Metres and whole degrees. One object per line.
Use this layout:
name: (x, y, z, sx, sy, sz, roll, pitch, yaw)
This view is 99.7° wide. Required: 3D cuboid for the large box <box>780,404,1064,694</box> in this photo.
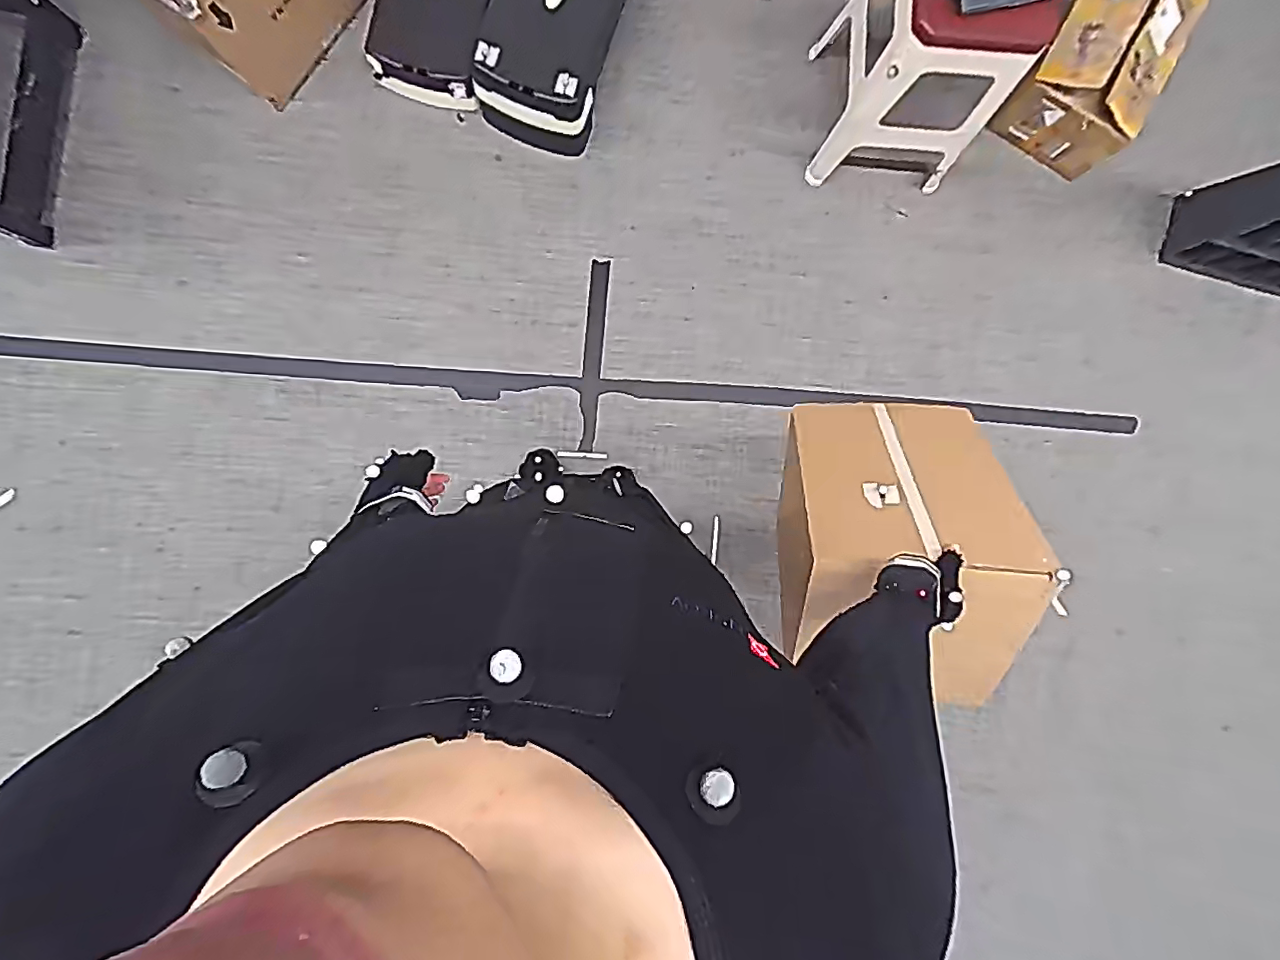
large box: (0.435, 0.106, 0.964, 0.320, 0.408, 0.320, 3, 131, 9)
